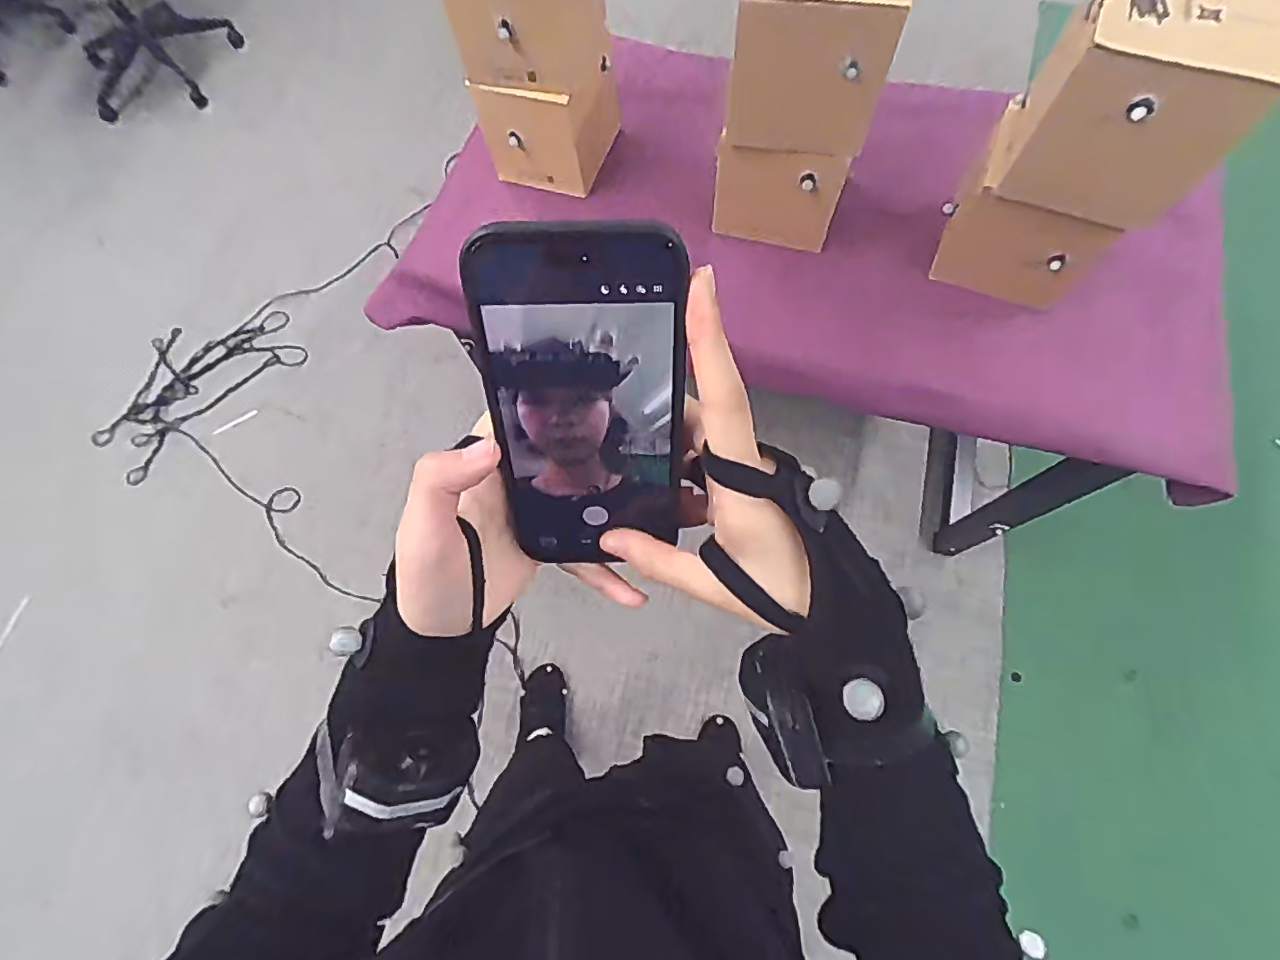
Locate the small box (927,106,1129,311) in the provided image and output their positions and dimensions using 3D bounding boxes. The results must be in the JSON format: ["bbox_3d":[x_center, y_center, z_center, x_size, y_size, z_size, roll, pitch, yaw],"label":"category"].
[{"bbox_3d":[0.536,-0.363,0.747,0.179,0.176,0.168,22,72,12],"label":"small box"}]

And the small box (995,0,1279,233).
[{"bbox_3d":[0.529,-0.404,0.588,0.179,0.176,0.168,22,72,11],"label":"small box"}]

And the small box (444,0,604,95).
[{"bbox_3d":[-0.152,-0.663,0.729,0.168,0.176,0.179,12,72,7],"label":"small box"}]

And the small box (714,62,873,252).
[{"bbox_3d":[0.219,-0.471,0.807,0.179,0.176,0.168,16,72,10],"label":"small box"}]

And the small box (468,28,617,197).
[{"bbox_3d":[-0.144,-0.598,0.880,0.168,0.176,0.179,17,72,10],"label":"small box"}]
